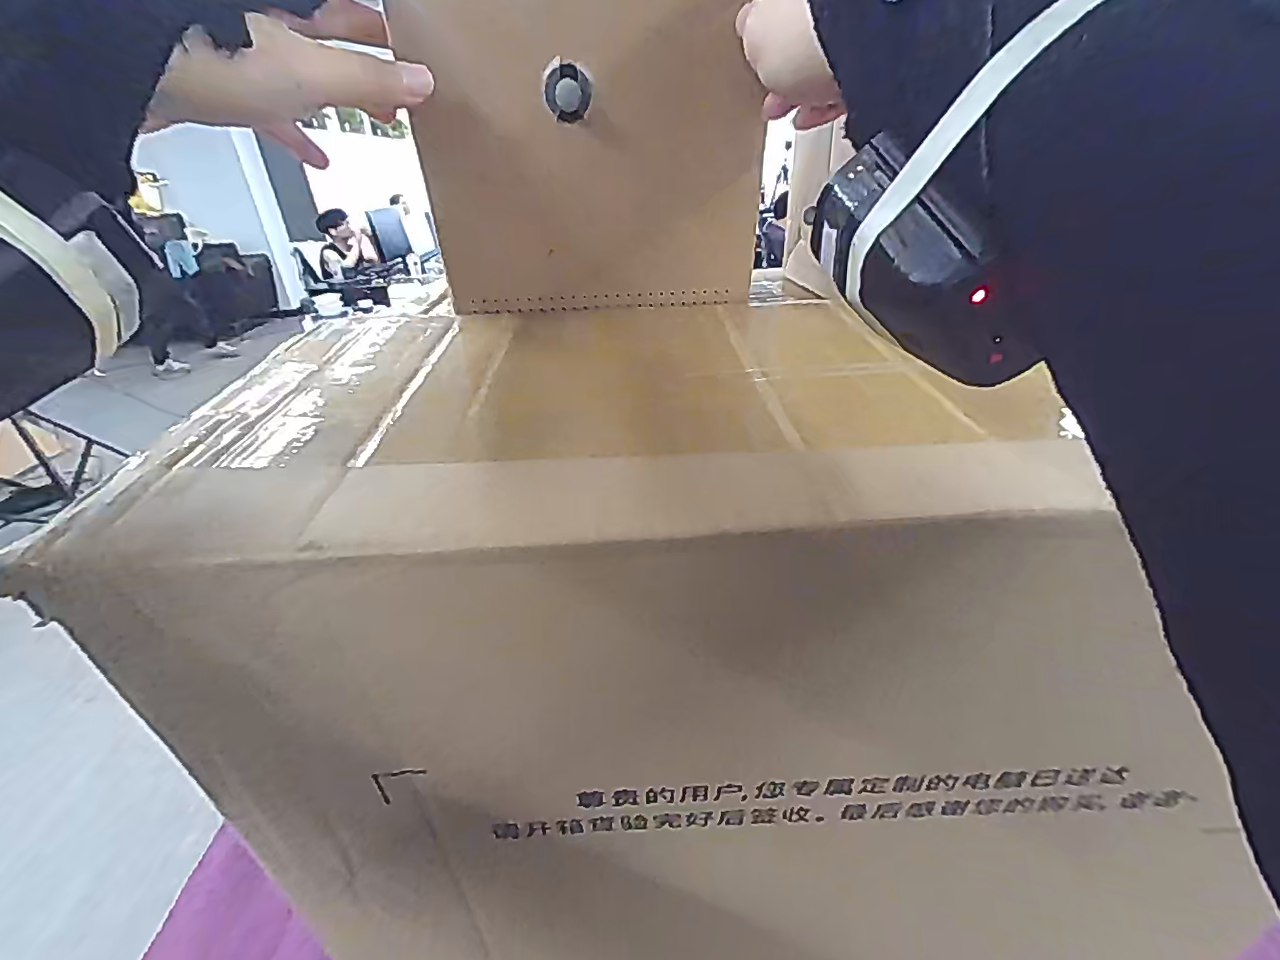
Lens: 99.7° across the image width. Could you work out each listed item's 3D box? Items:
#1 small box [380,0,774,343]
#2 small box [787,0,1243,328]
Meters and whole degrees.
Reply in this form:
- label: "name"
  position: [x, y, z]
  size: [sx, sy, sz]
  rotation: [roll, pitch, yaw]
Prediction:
- label: "small box"
  position: [-0.029, -0.195, 0.341]
  size: [0.179, 0.176, 0.168]
  rotation: [-2, 39, -3]
- label: "small box"
  position: [0.214, -0.214, 0.370]
  size: [0.179, 0.176, 0.168]
  rotation: [-7, 31, -4]
